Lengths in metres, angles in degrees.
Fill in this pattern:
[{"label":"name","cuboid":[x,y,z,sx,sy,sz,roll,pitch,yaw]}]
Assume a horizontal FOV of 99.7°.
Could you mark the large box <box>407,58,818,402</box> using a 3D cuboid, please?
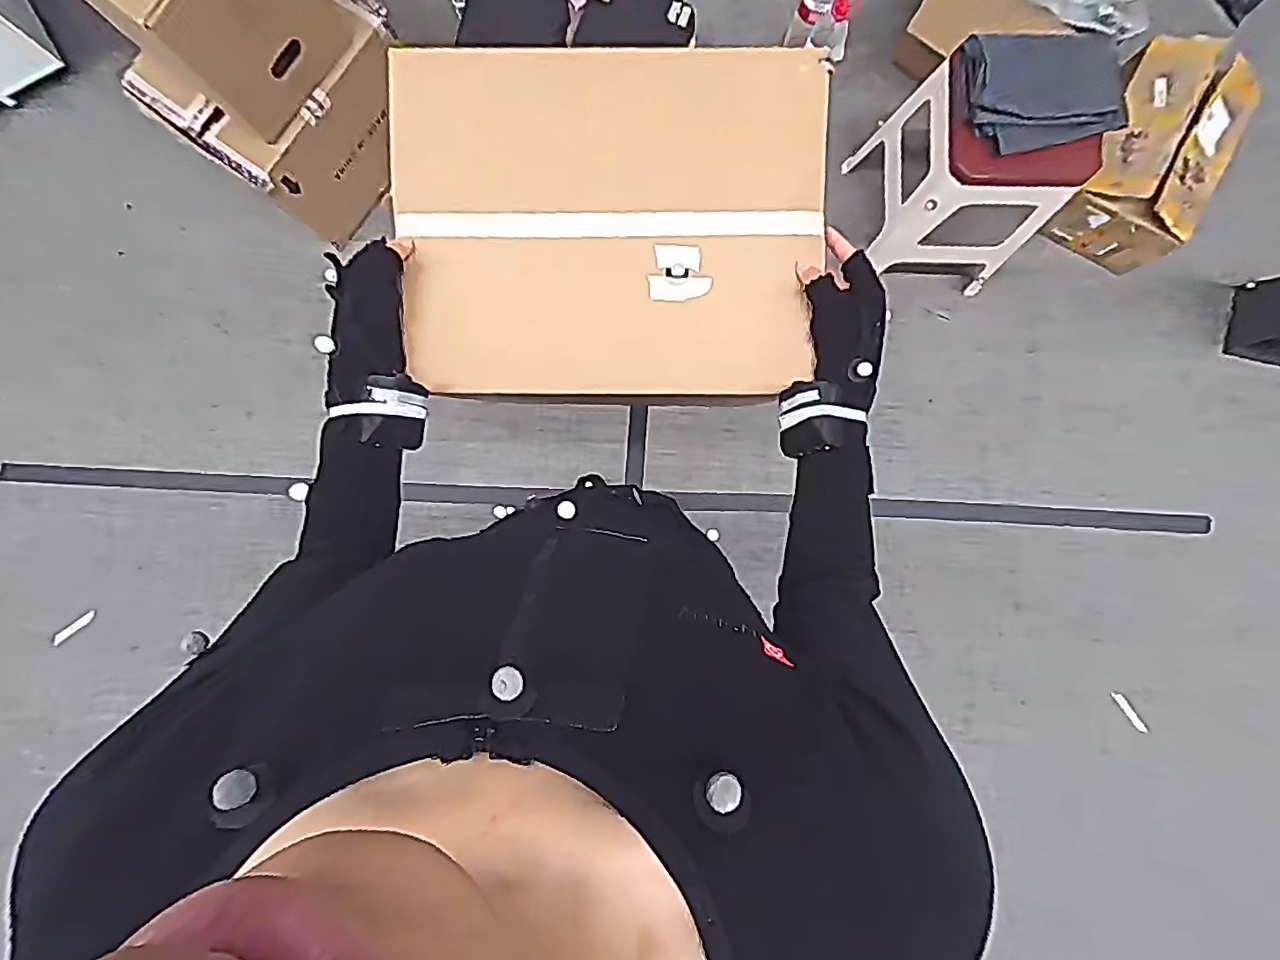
[{"label":"large box","cuboid":[-0.027,-0.264,0.681,0.408,0.320,0.320,0,96,0]}]
